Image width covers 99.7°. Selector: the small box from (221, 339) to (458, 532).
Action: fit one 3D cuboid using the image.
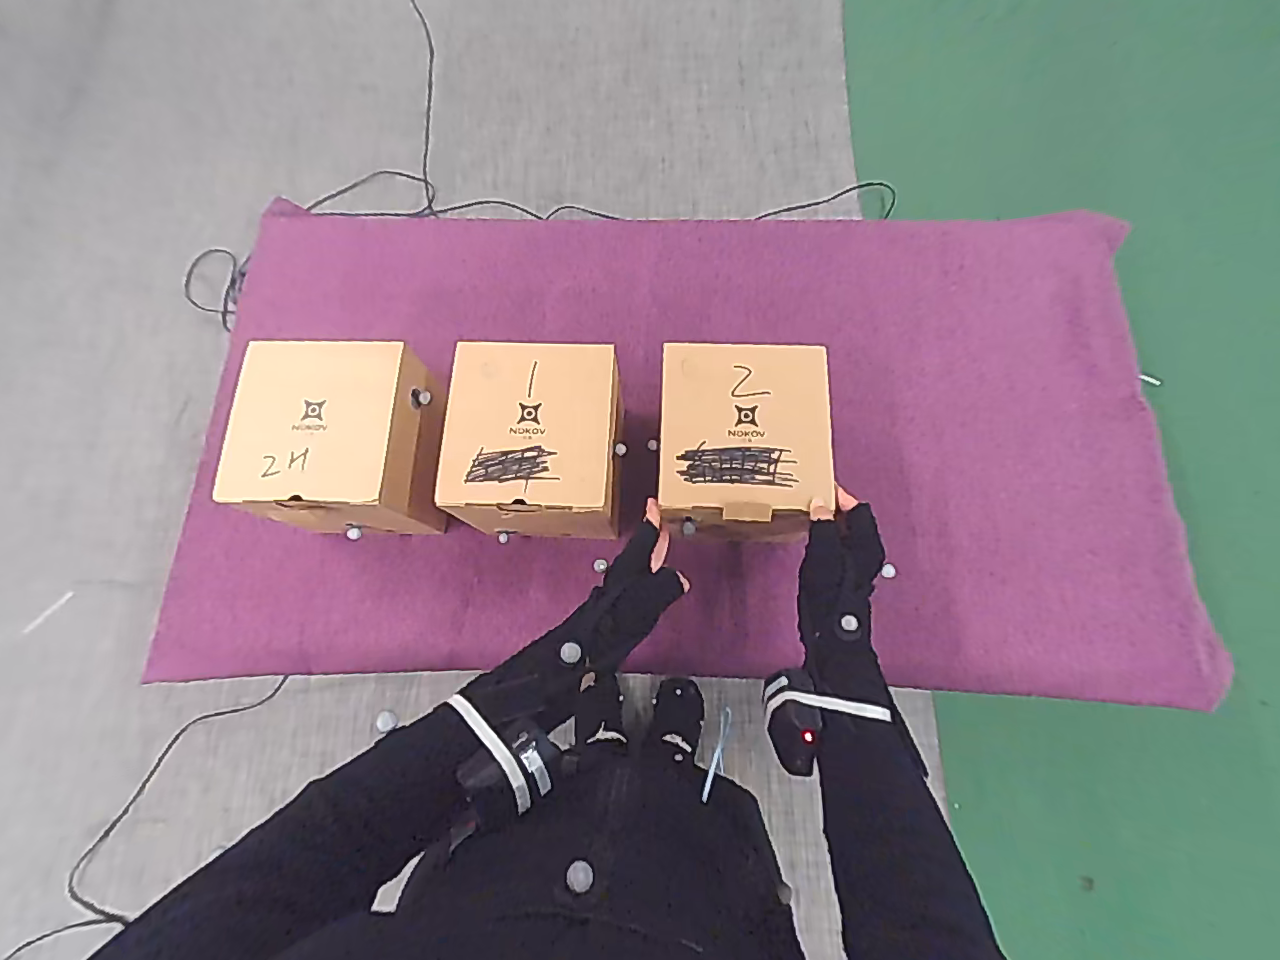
[{"bbox_3d":[-0.324,-0.043,0.624,0.168,0.176,0.179,1,75,2],"label":"small box"}]
